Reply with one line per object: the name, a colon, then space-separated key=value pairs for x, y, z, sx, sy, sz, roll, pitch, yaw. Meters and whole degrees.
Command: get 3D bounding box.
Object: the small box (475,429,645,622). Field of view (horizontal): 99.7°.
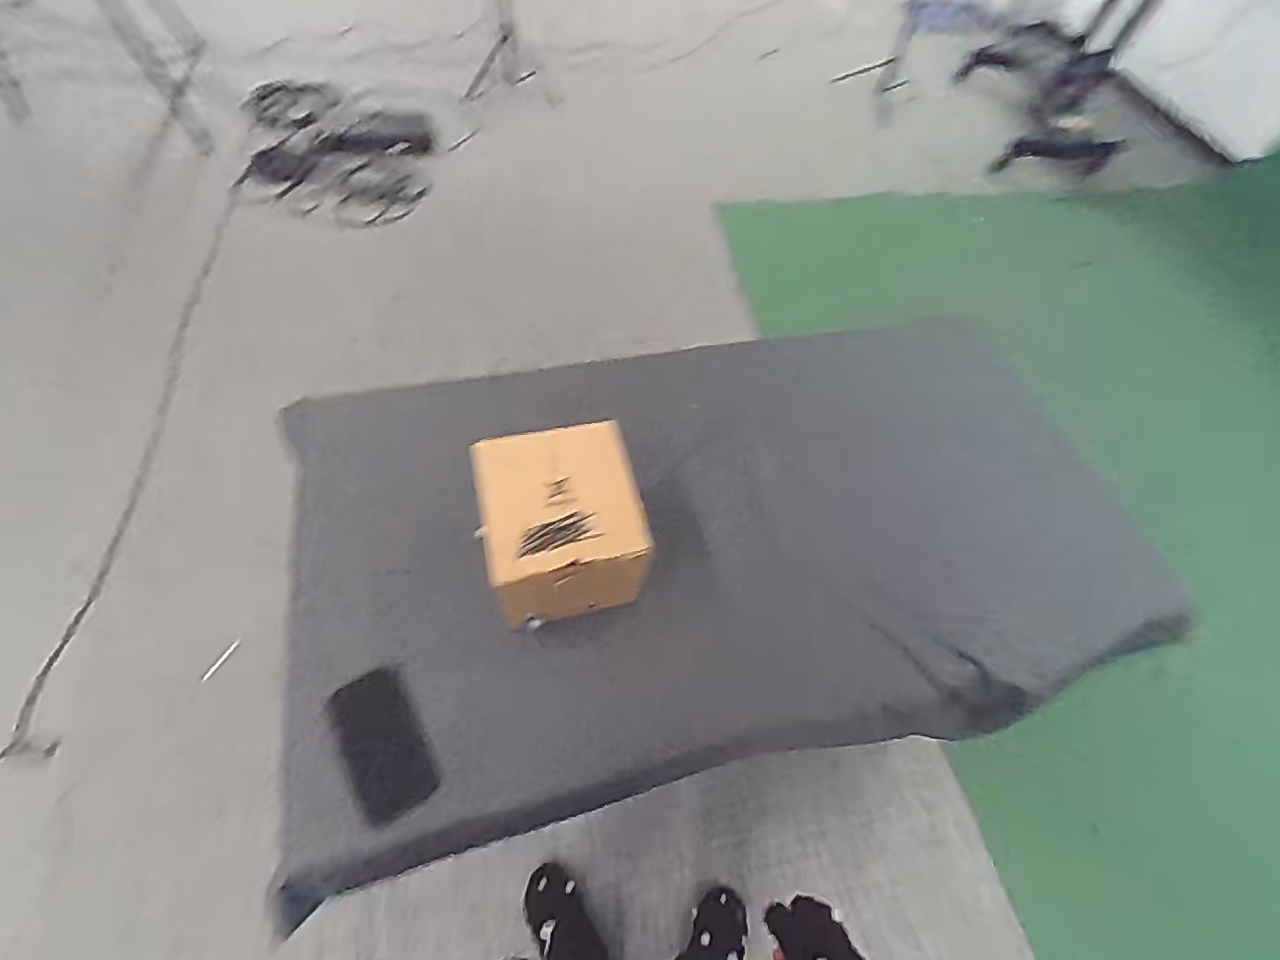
small box: x=-0.100 y=0.064 z=0.671 sx=0.168 sy=0.176 sz=0.179 roll=-10 pitch=60 yaw=-14
